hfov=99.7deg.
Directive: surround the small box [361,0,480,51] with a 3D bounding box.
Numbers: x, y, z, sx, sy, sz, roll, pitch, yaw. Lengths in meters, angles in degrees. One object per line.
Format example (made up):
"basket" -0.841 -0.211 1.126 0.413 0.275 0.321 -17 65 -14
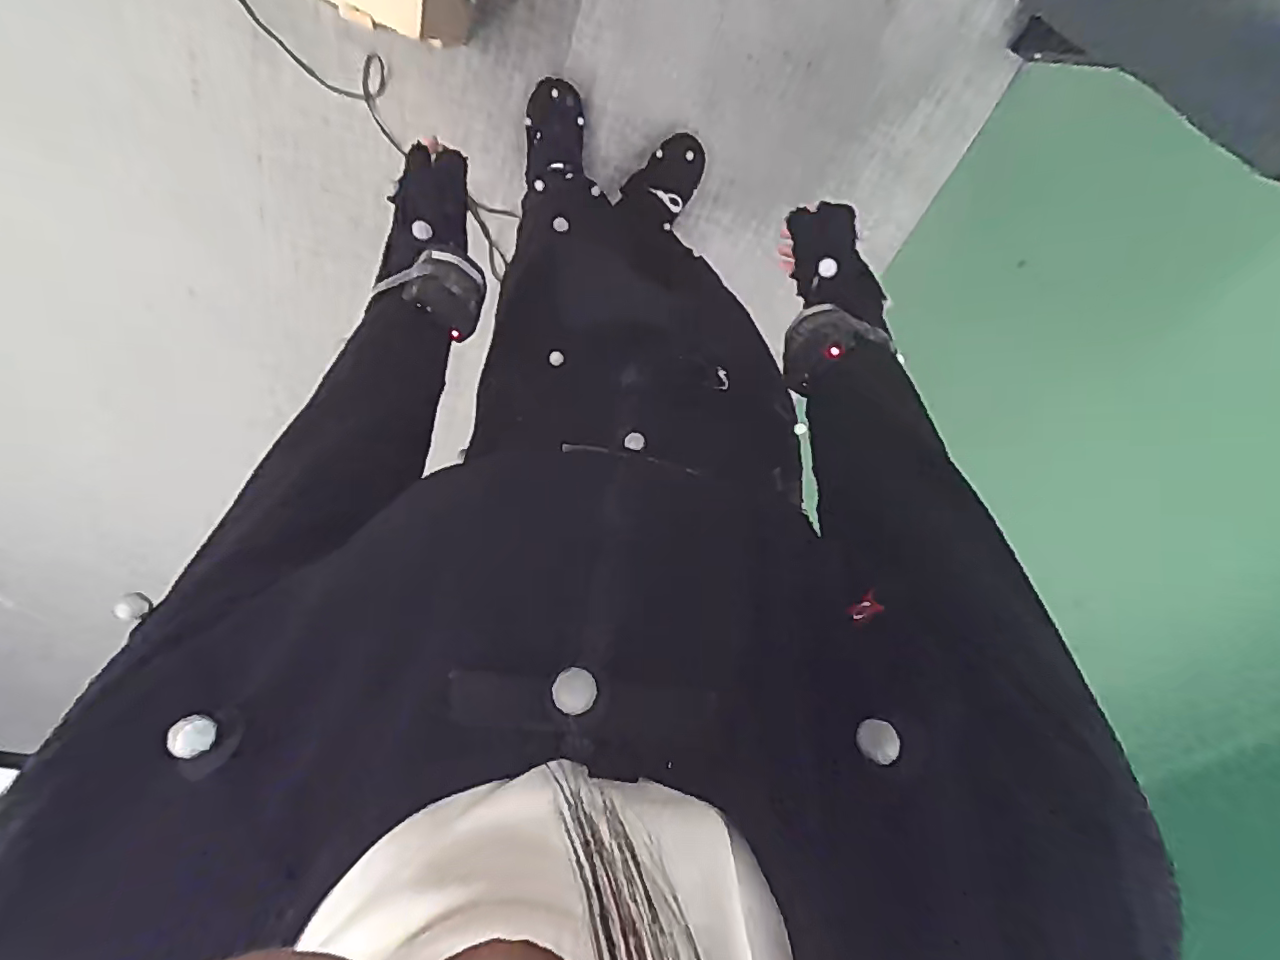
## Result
"small box" -0.348 -0.832 0.861 0.168 0.176 0.179 23 127 -18
